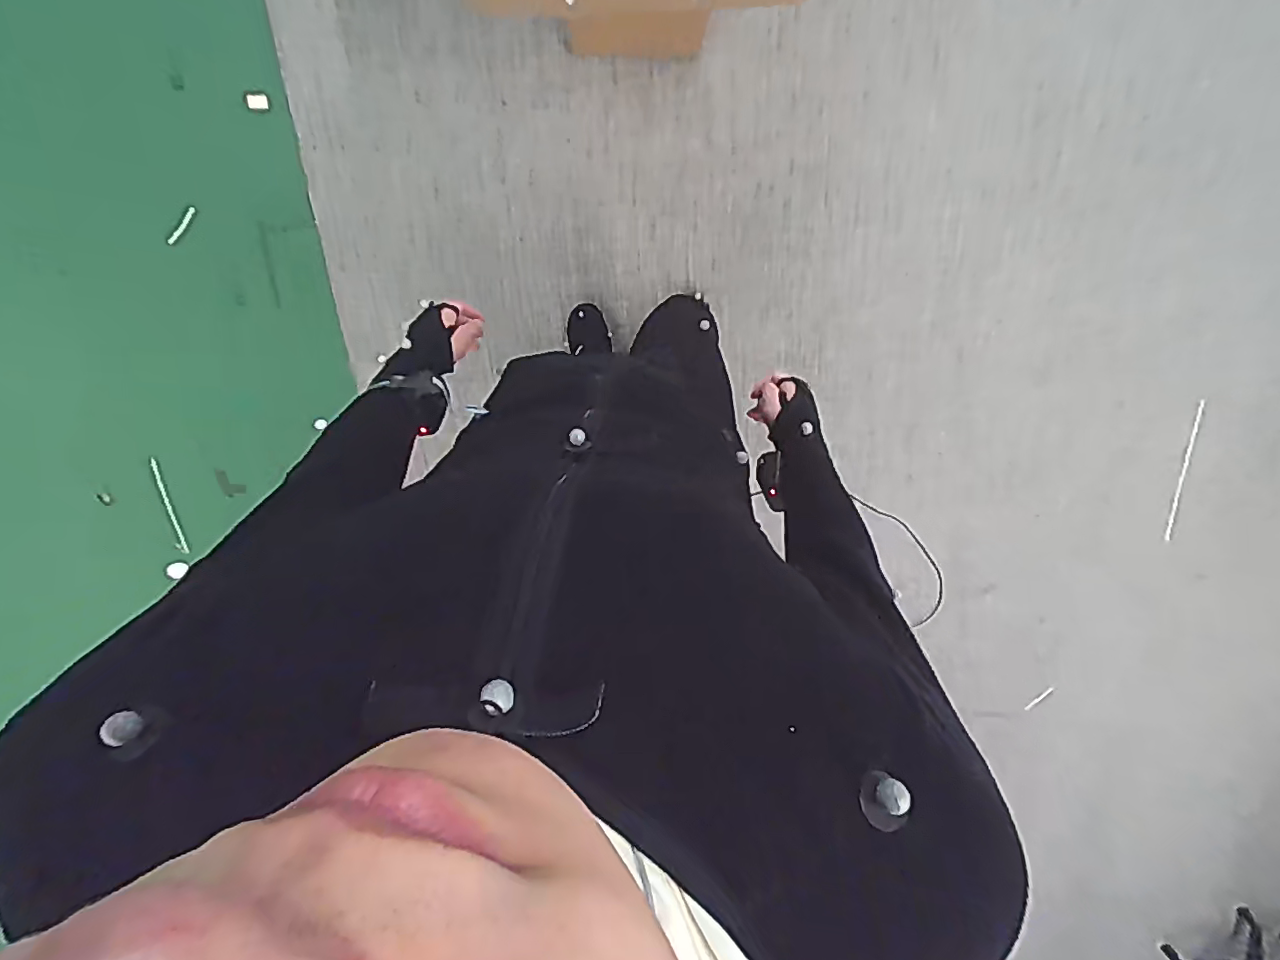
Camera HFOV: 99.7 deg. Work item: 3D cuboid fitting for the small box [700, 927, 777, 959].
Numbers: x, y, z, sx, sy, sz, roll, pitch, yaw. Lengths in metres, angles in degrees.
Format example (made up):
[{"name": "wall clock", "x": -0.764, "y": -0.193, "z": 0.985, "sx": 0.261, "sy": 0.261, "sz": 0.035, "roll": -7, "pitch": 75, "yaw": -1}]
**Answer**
[{"name": "small box", "x": 0.234, "y": 1.174, "z": 1.237, "sx": 0.179, "sy": 0.176, "sz": 0.168, "roll": -9, "pitch": 110, "yaw": 1}]
